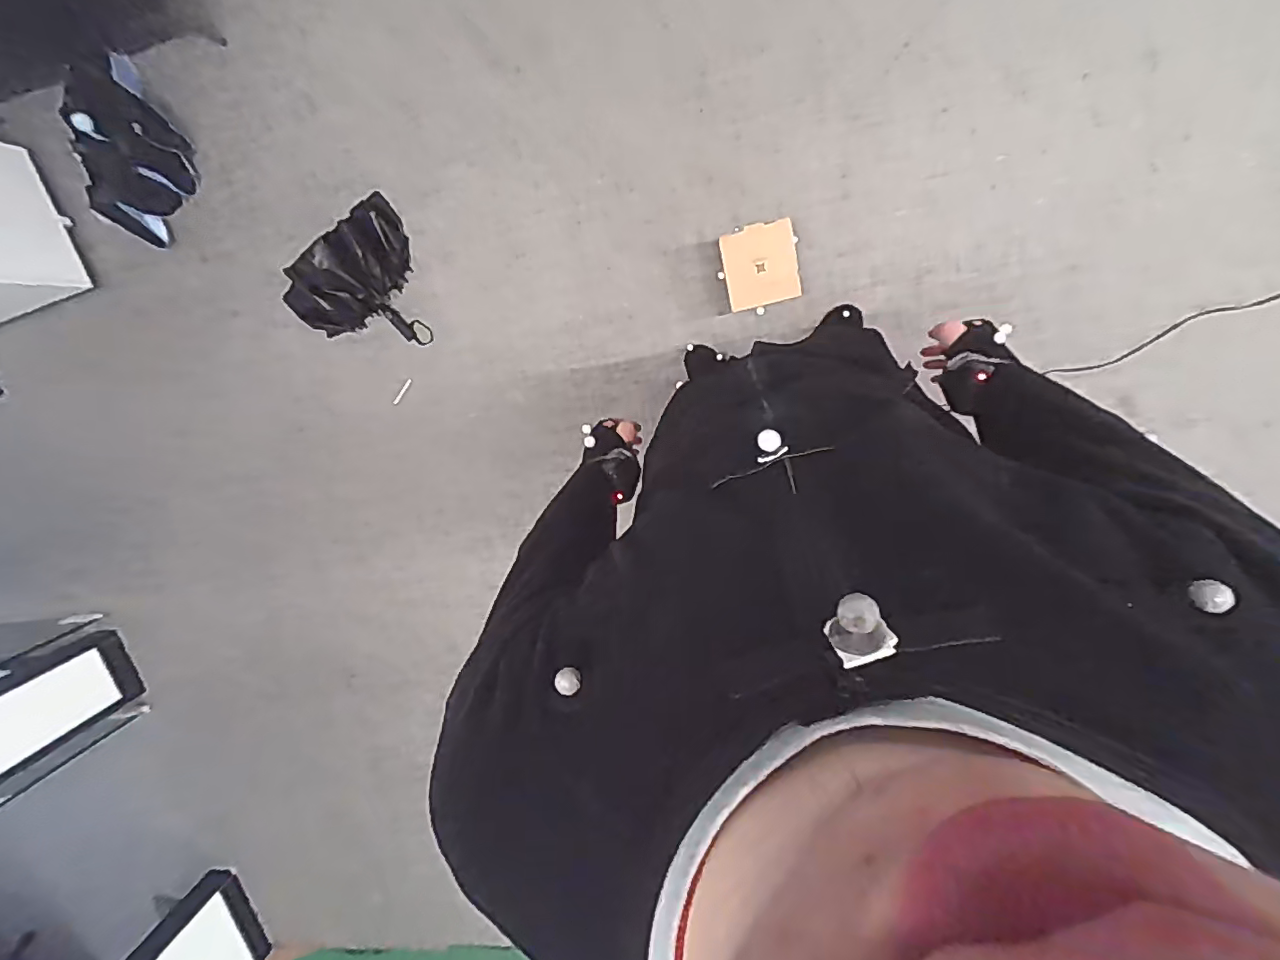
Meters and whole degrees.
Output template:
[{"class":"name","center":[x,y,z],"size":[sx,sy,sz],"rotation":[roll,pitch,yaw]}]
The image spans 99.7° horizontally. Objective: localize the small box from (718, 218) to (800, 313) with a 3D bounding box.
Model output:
[{"class":"small box","center":[0.289,-0.517,1.328],"size":[0.168,0.176,0.179],"rotation":[-11,105,14]}]
